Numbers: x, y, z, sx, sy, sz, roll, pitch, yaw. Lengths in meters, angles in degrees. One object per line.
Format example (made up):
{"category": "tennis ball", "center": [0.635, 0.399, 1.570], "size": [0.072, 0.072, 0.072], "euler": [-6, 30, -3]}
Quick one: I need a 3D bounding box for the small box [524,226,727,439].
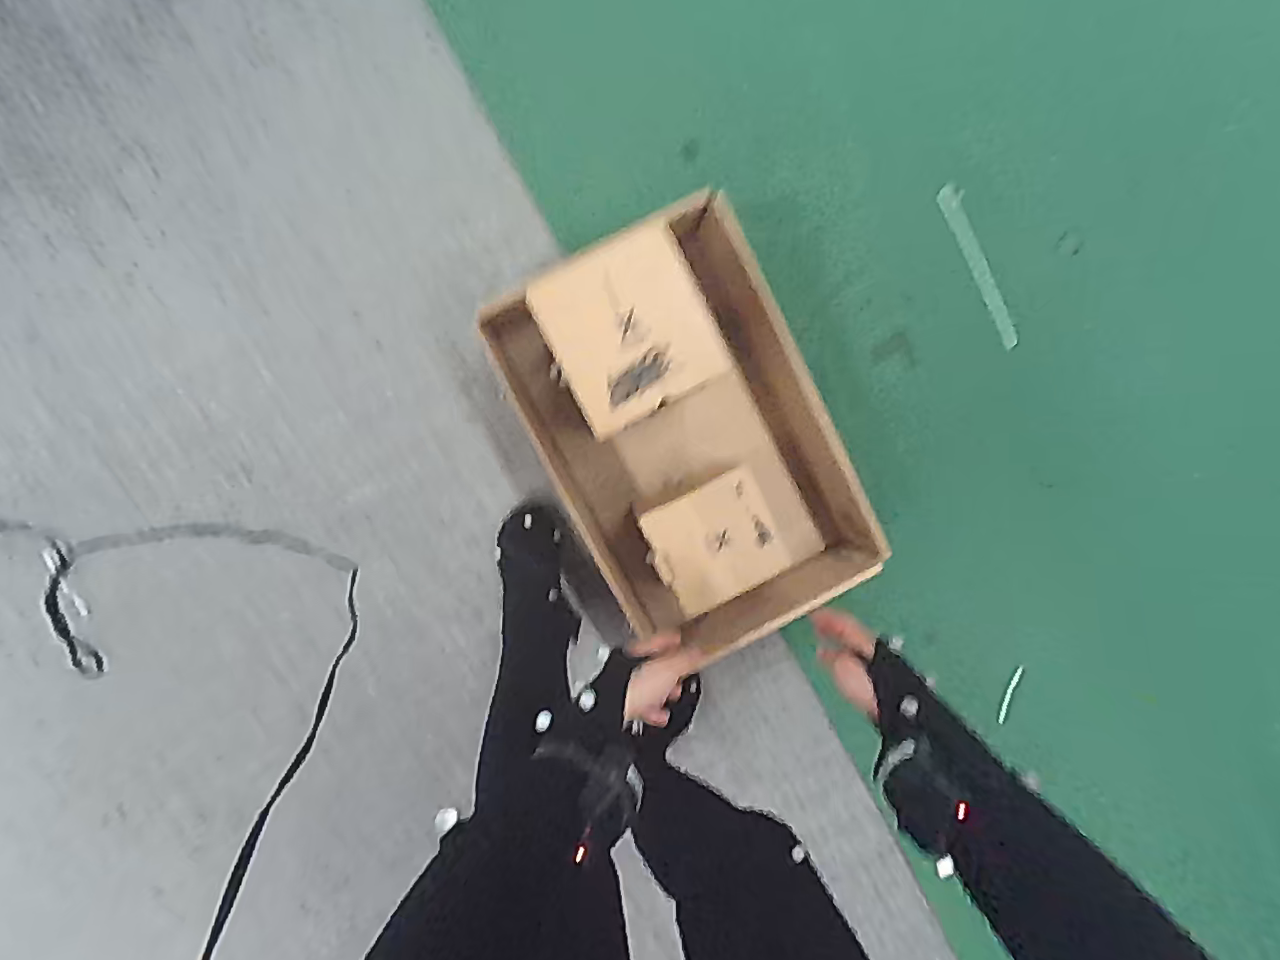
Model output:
{"category": "small box", "center": [-0.018, -0.164, 0.654], "size": [0.168, 0.176, 0.179], "euler": [-27, 96, -2]}
